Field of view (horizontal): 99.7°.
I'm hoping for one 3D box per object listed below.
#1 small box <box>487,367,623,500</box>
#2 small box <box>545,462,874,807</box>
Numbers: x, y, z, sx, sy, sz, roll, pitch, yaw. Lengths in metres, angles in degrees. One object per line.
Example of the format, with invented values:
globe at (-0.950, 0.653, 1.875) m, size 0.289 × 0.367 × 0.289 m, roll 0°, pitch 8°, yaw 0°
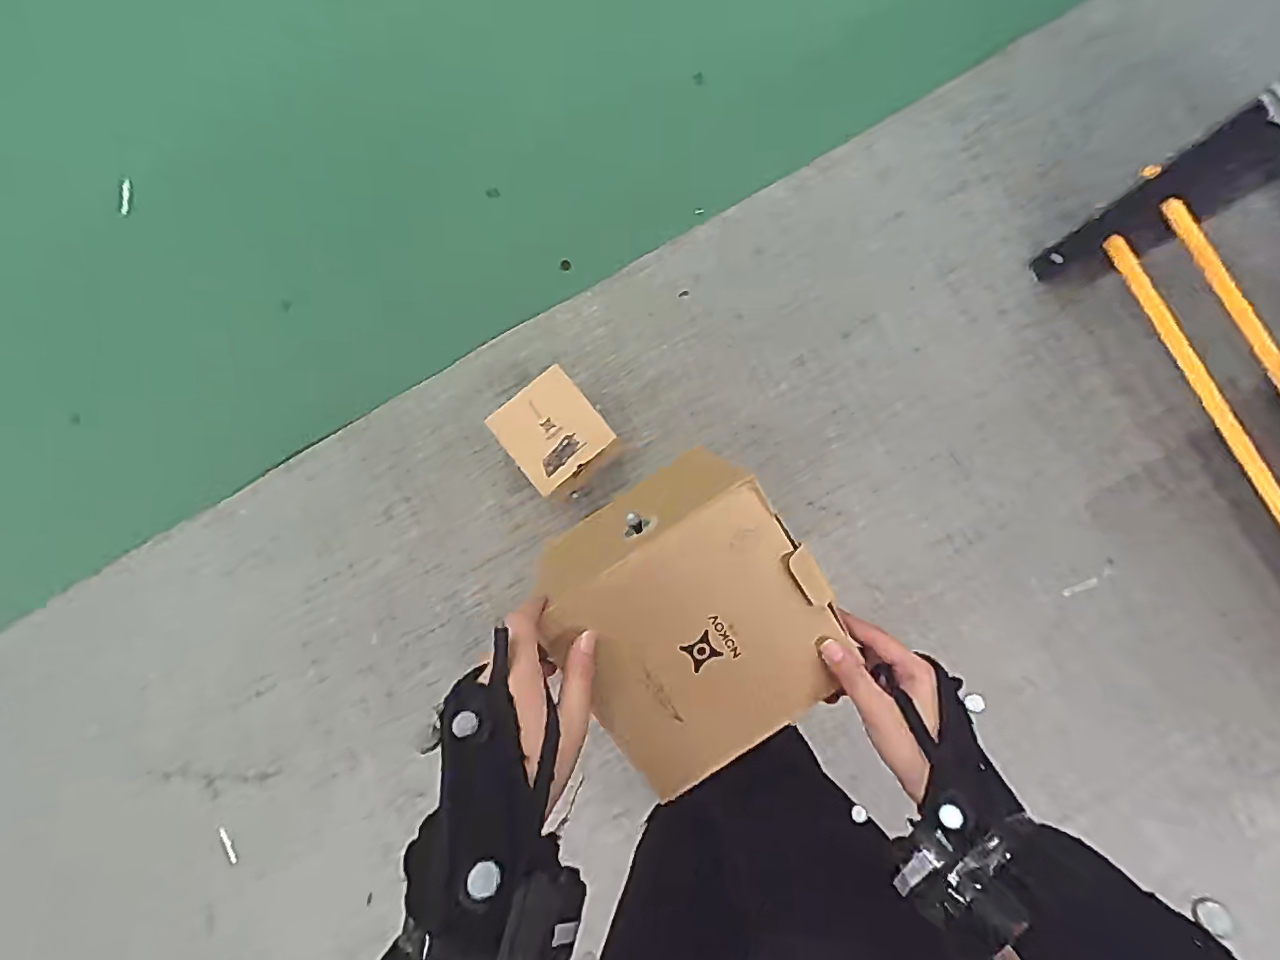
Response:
small box at (-0.148, -0.077, 1.016) m, size 0.168 × 0.176 × 0.179 m, roll -39°, pitch 84°, yaw -1°
small box at (0.041, 0.101, 0.438) m, size 0.179 × 0.176 × 0.168 m, roll -34°, pitch 101°, yaw 0°
